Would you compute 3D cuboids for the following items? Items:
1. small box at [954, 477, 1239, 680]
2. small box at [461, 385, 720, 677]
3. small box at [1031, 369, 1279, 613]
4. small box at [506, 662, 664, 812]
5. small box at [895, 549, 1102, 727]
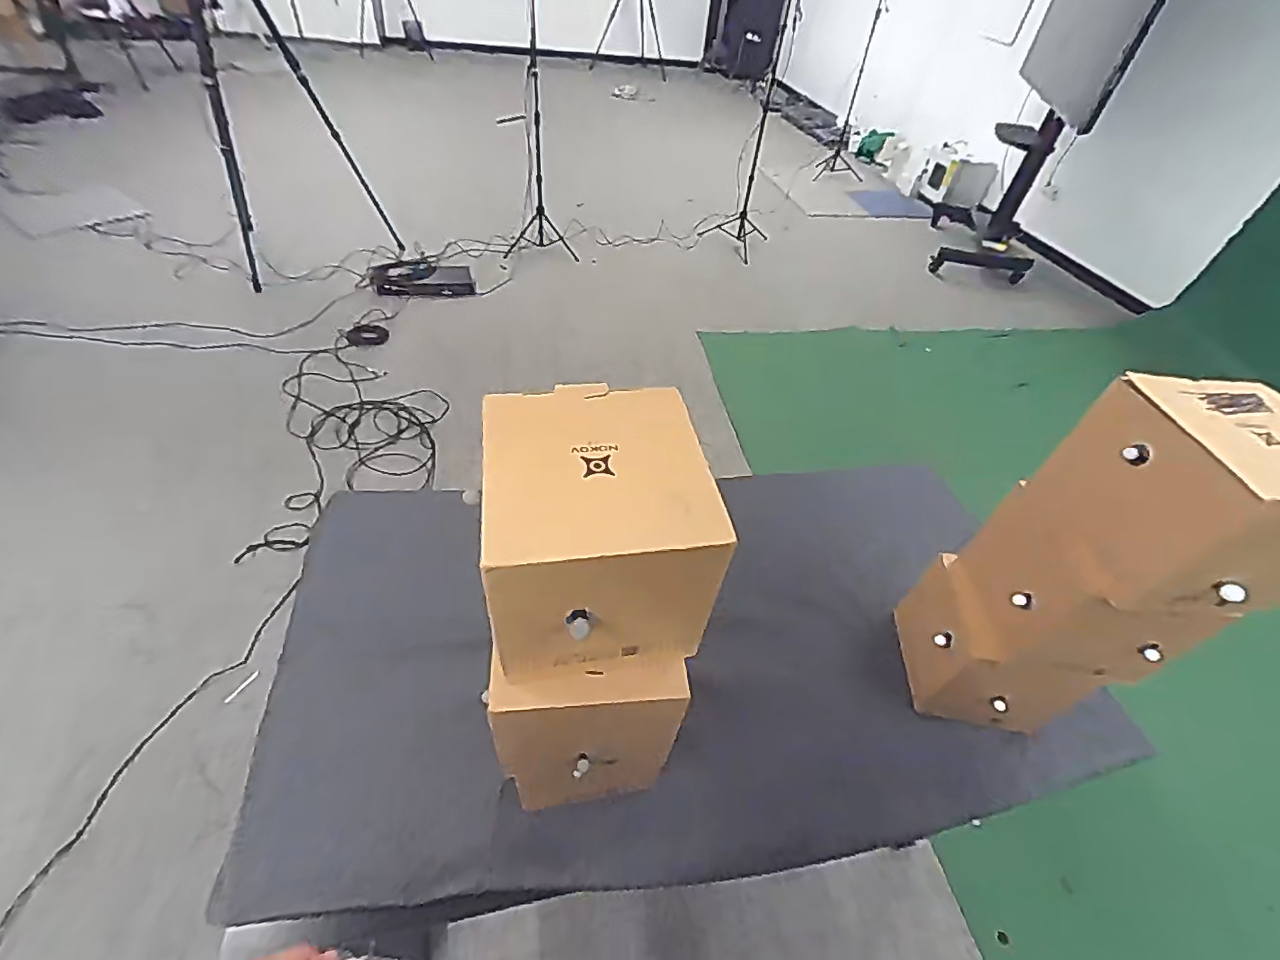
[{"bbox_3d":[0.528,0.123,0.661,0.168,0.176,0.179,7,43,-1],"label":"small box"},{"bbox_3d":[-0.047,0.045,0.445,0.168,0.176,0.179,-5,46,-11],"label":"small box"},{"bbox_3d":[0.550,0.012,0.542,0.168,0.176,0.179,2,45,-5],"label":"small box"},{"bbox_3d":[-0.077,0.280,0.671,0.168,0.176,0.179,-5,46,-11],"label":"small box"},{"bbox_3d":[0.494,0.230,0.779,0.168,0.176,0.179,10,44,2],"label":"small box"}]
